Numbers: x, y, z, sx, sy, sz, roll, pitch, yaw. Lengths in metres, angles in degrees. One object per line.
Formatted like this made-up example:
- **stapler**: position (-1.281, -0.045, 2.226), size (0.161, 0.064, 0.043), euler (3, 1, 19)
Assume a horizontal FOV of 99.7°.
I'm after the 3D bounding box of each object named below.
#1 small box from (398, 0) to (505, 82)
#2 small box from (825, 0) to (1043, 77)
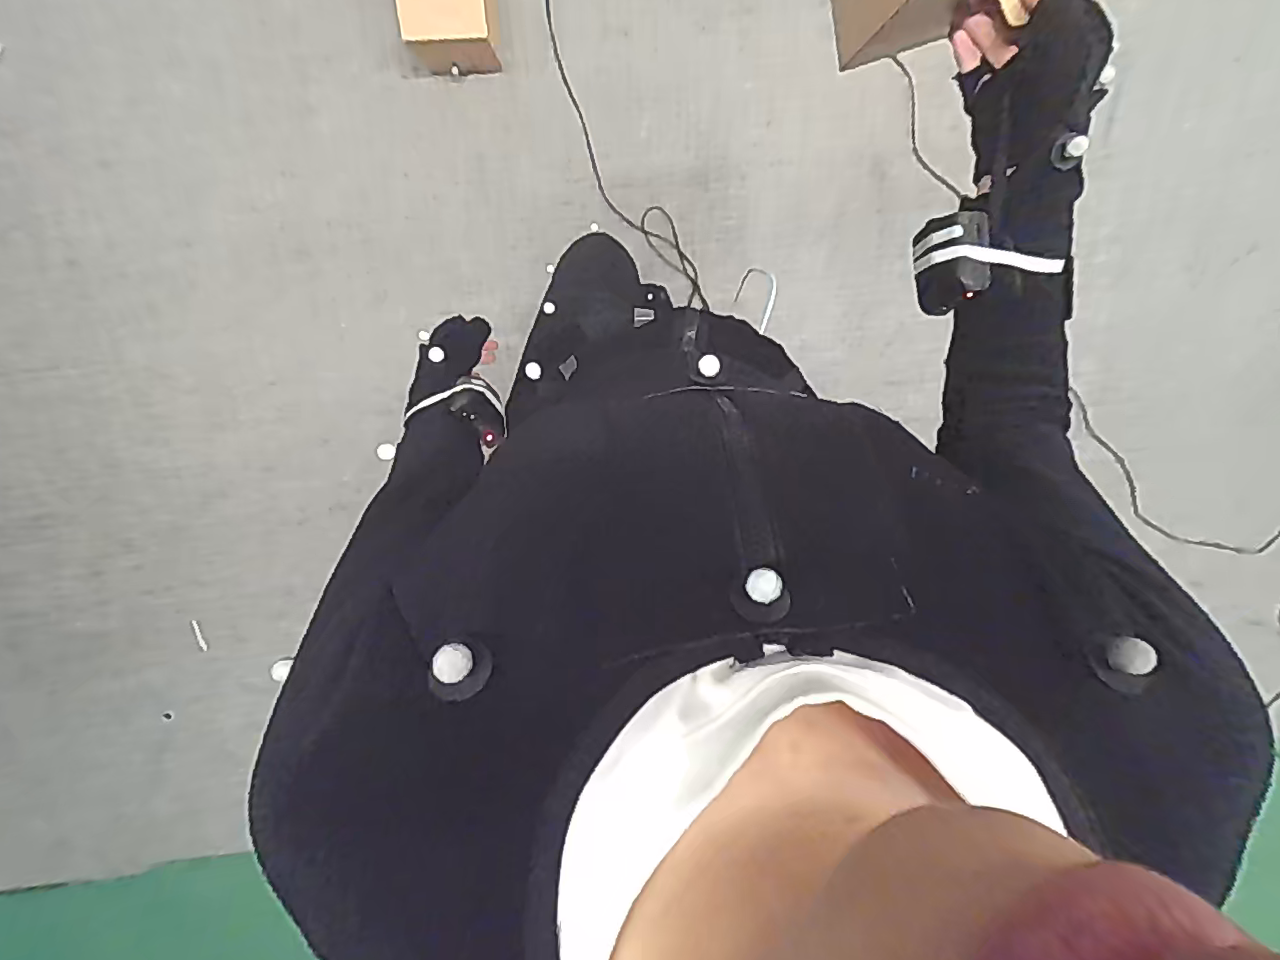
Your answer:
- **small box**: position (-0.376, -0.936, 1.088), size (0.168, 0.176, 0.179), euler (-2, 109, -1)
- **small box**: position (0.240, -0.452, 0.407), size (0.168, 0.176, 0.179), euler (-14, 111, 7)
